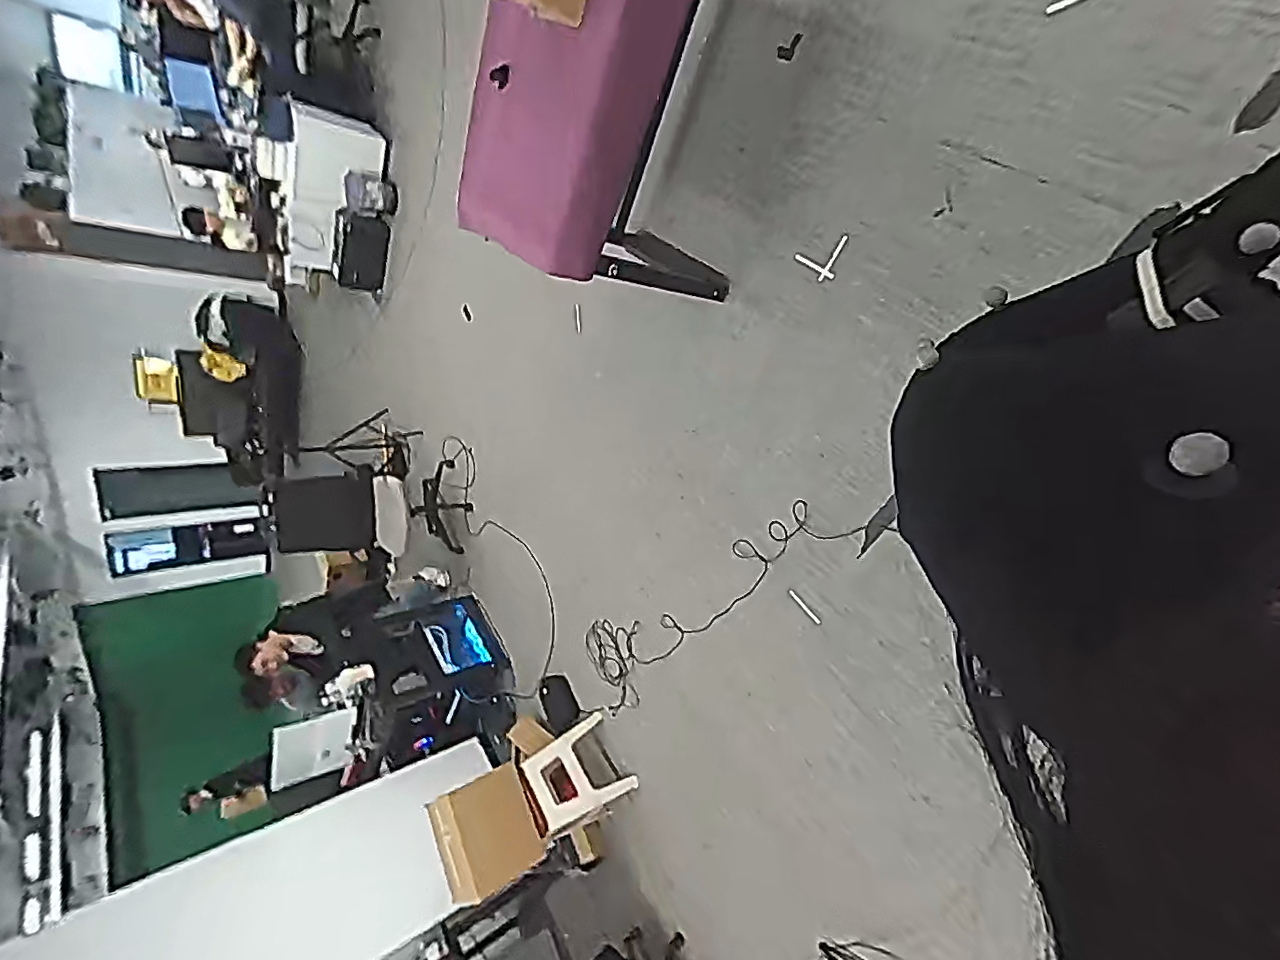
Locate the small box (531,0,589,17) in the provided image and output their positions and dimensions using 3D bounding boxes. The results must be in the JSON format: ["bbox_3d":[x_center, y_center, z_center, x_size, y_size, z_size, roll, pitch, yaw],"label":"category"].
[{"bbox_3d":[-0.199,-1.146,1.170,0.168,0.176,0.179,45,127,34],"label":"small box"}]
